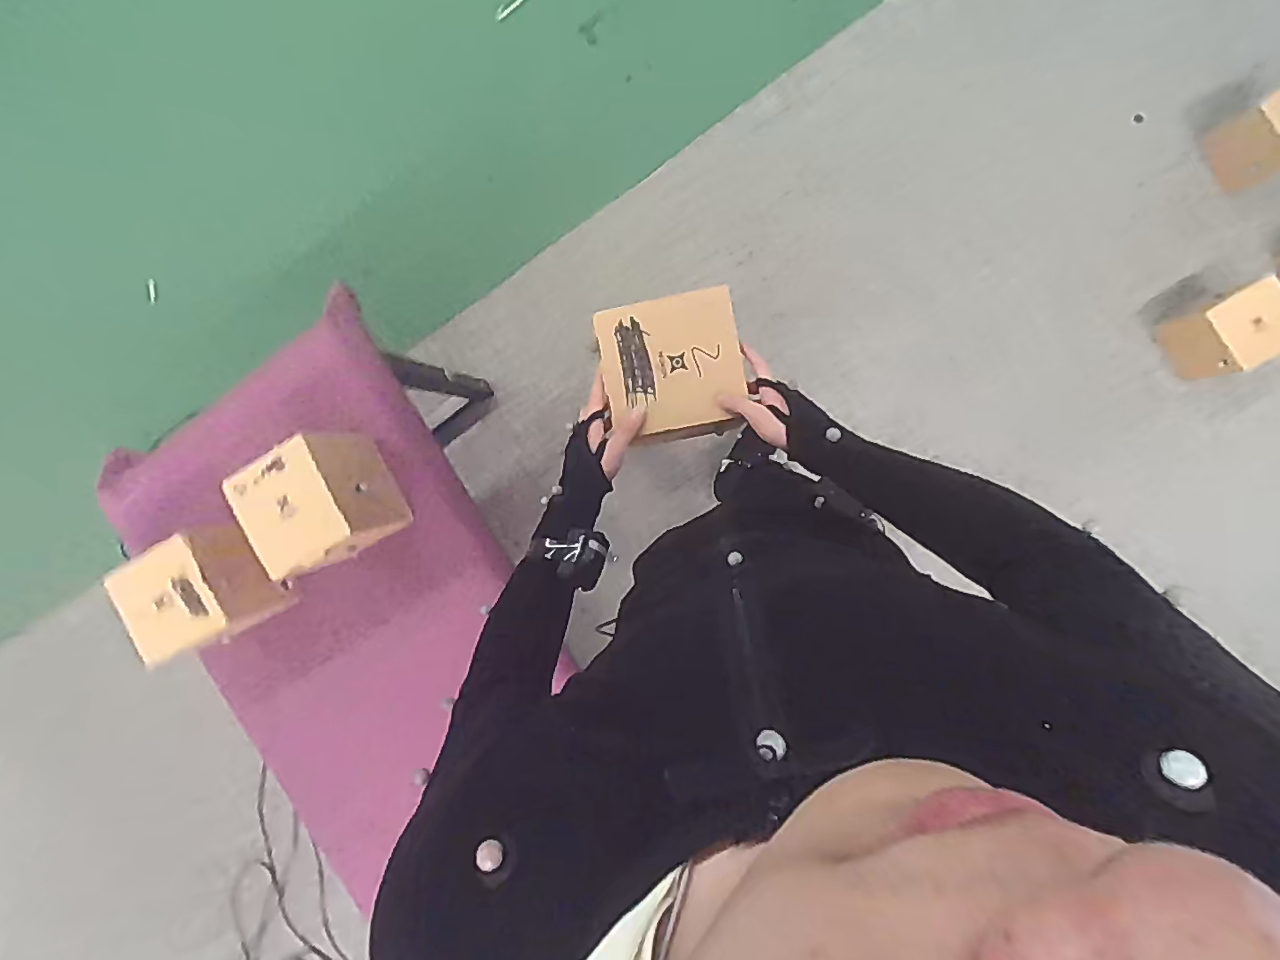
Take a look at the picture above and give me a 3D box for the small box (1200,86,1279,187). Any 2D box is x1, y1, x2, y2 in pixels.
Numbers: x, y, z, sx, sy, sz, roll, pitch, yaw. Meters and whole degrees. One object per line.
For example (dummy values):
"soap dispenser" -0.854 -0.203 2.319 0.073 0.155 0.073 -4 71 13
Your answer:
"small box" 1.535 -0.841 1.298 0.168 0.176 0.179 -32 88 8

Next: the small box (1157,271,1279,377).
"small box" 1.458 -0.374 1.336 0.168 0.176 0.179 -34 89 8

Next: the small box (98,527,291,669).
"small box" -0.748 0.190 0.934 0.179 0.176 0.168 -27 90 9

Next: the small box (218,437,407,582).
"small box" -0.526 0.038 0.894 0.168 0.176 0.179 -28 90 9
